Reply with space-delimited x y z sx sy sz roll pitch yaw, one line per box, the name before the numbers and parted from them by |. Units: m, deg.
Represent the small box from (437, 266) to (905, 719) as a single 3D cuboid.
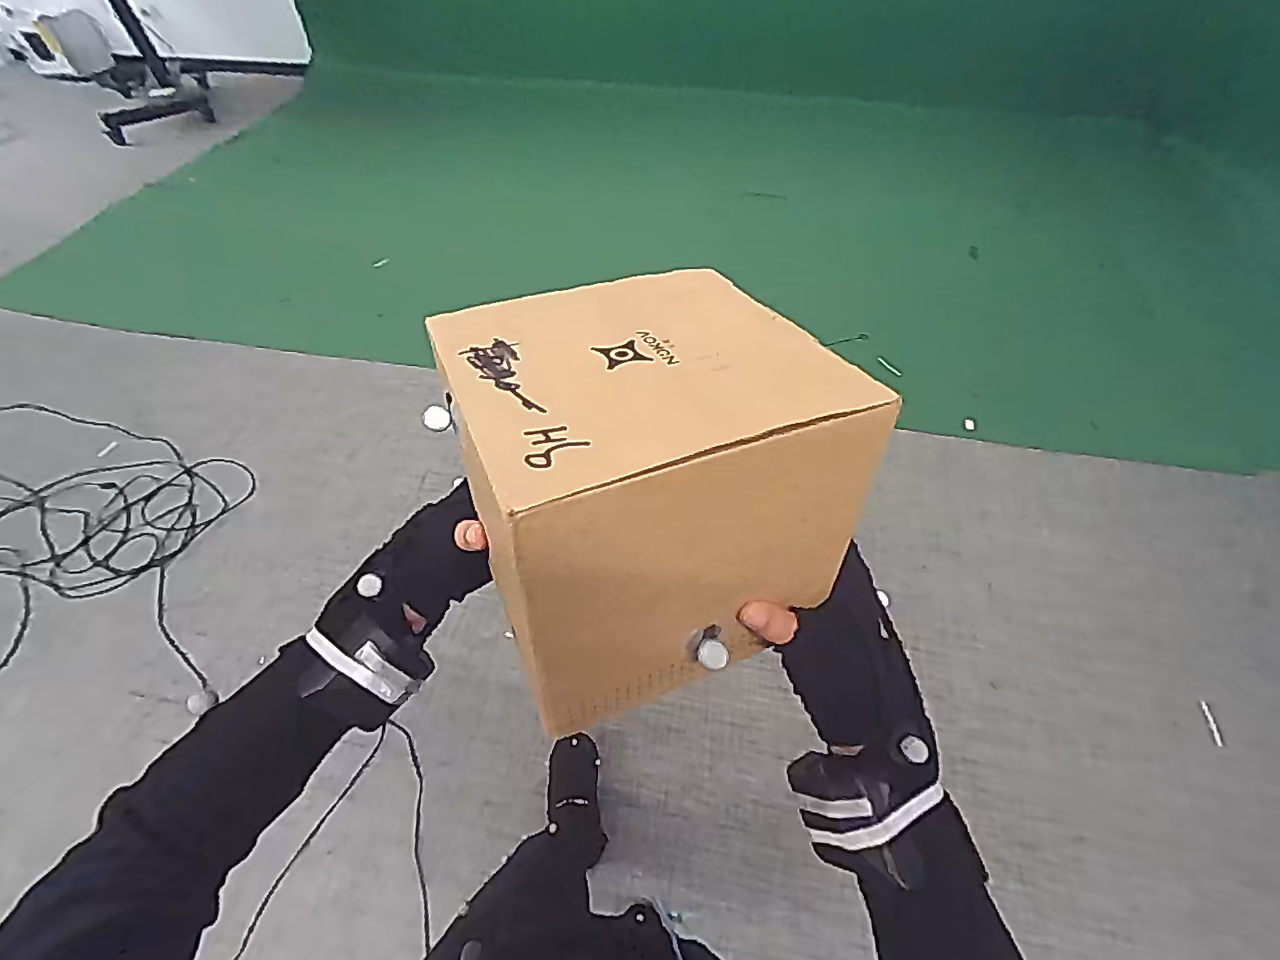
small box | 0.001 -0.002 0.308 0.179 0.176 0.168 -16 44 -20
